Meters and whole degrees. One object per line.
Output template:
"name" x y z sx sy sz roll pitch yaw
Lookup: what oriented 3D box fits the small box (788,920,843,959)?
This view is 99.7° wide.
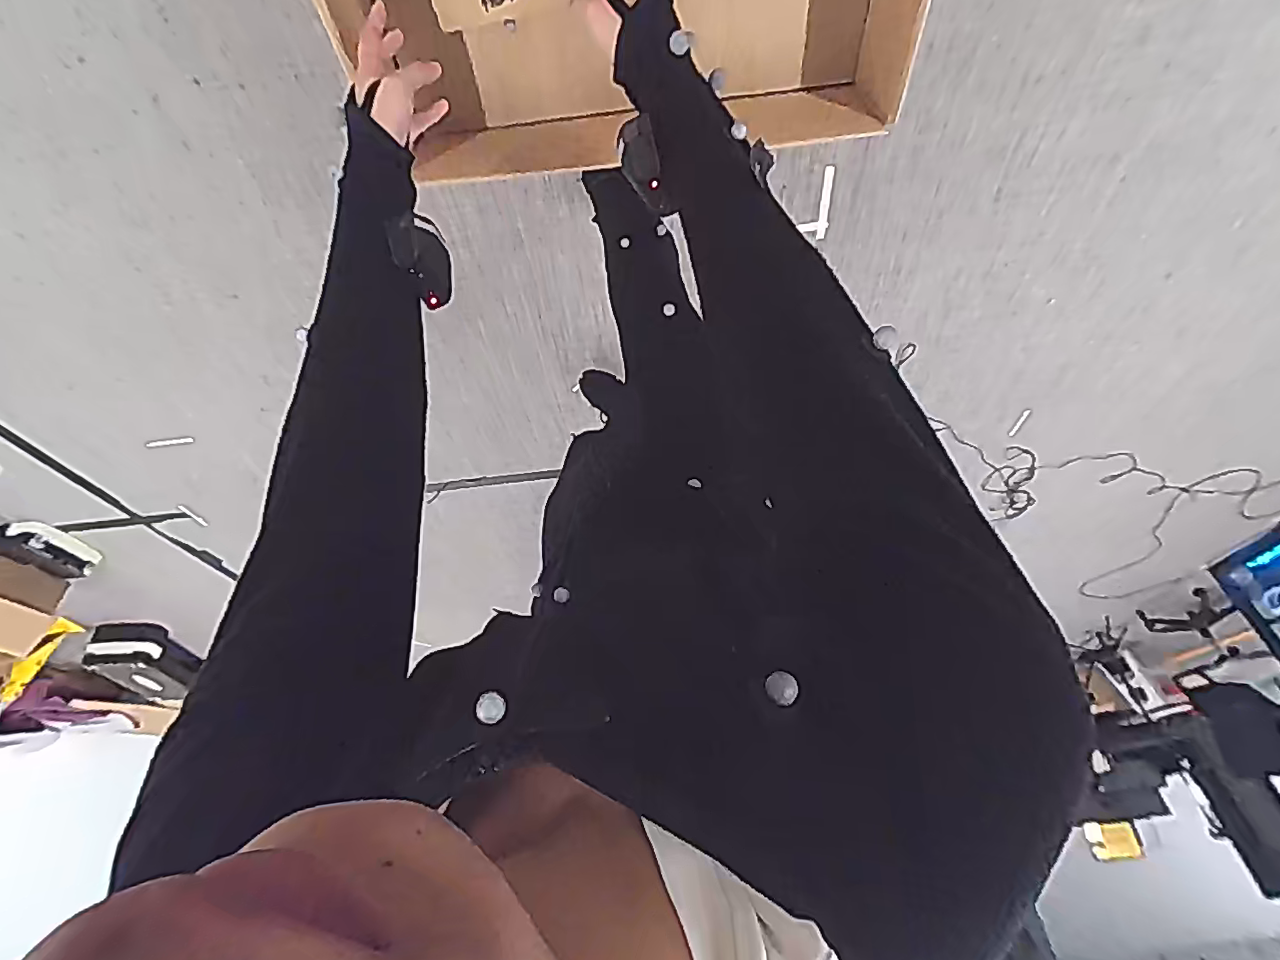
"small box" 0.699 1.869 2.154 0.179 0.176 0.168 -8 144 4

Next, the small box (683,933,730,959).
"small box" 0.254 1.799 1.993 0.168 0.176 0.179 -8 145 3

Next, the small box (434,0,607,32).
"small box" -0.127 -0.562 0.505 0.168 0.176 0.179 -7 143 4
